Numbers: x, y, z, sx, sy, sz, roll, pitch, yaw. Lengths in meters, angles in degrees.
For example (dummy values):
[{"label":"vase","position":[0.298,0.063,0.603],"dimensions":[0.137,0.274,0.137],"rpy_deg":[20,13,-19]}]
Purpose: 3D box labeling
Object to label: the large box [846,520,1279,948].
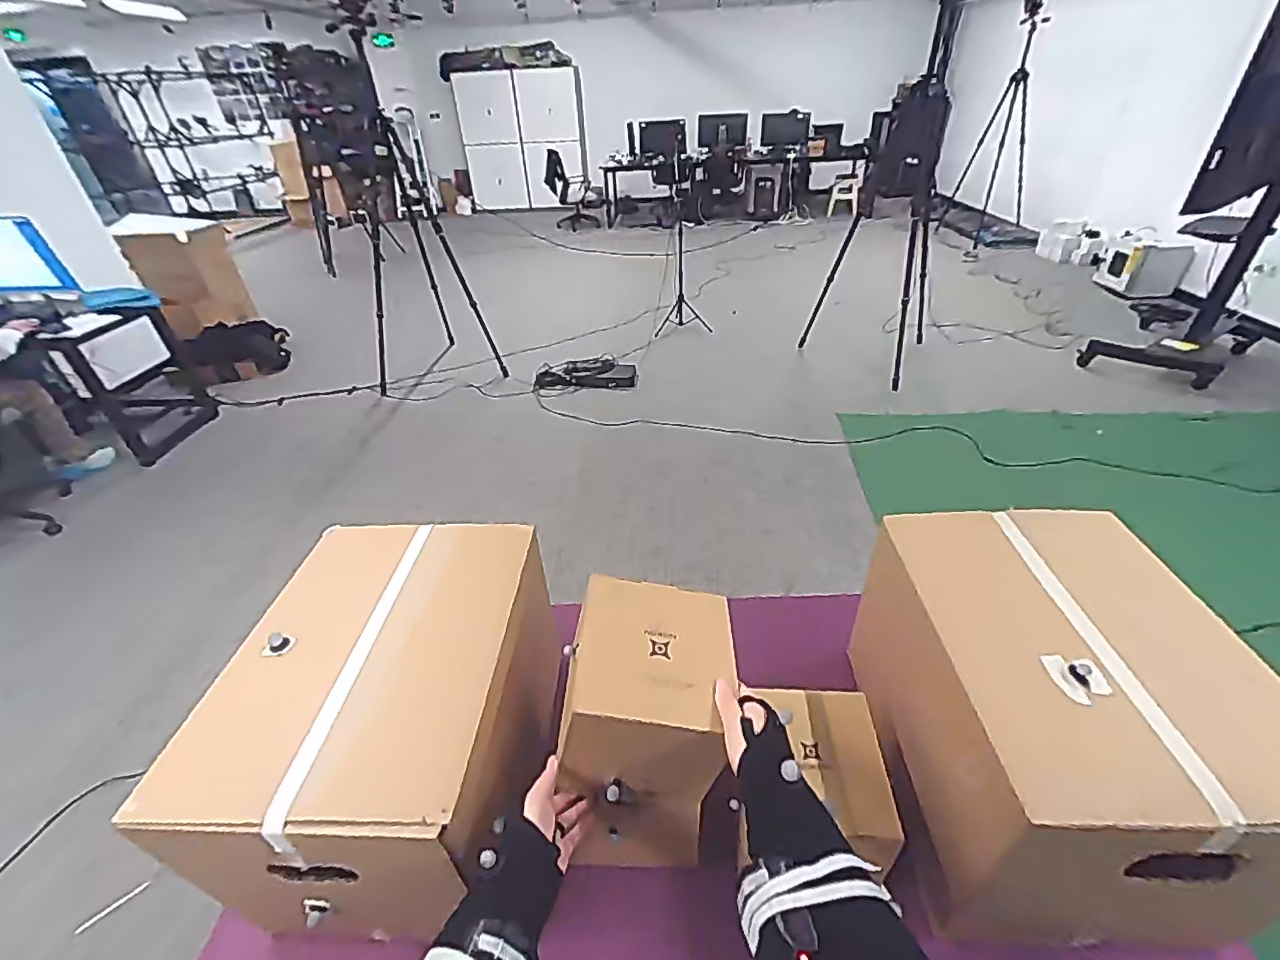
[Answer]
[{"label":"large box","position":[0.498,0.297,0.697],"dimensions":[0.320,0.320,0.408],"rpy_deg":[0,37,4]}]
